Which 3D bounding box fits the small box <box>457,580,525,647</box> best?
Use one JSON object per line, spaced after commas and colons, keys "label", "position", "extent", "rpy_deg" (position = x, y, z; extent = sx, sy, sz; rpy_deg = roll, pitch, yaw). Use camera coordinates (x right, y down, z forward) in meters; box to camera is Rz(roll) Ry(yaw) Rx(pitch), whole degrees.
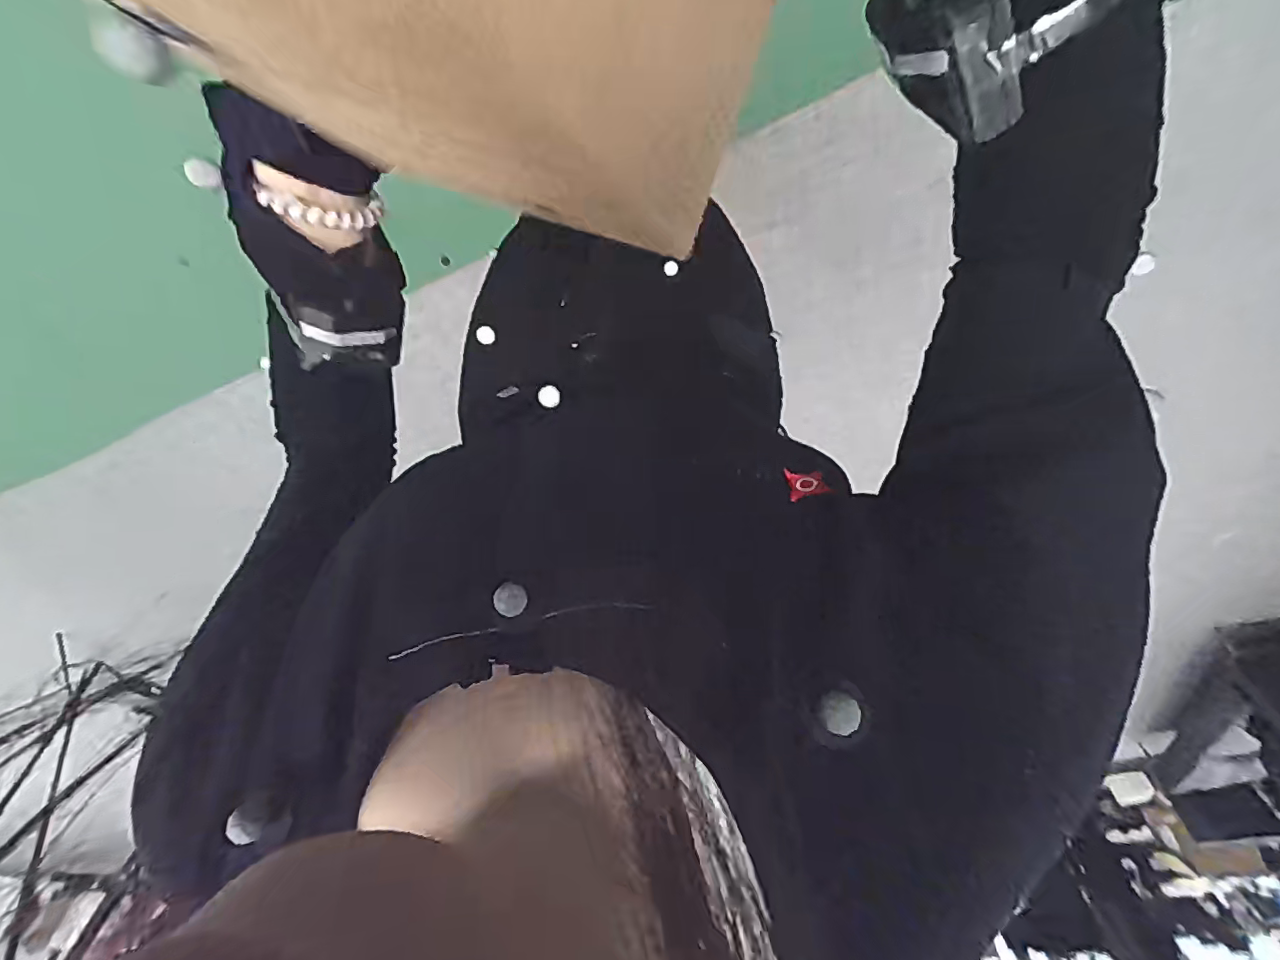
{"label": "small box", "position": [-0.552, 0.501, 2.031], "extent": [0.179, 0.176, 0.168], "rpy_deg": [-20, 134, 17]}
